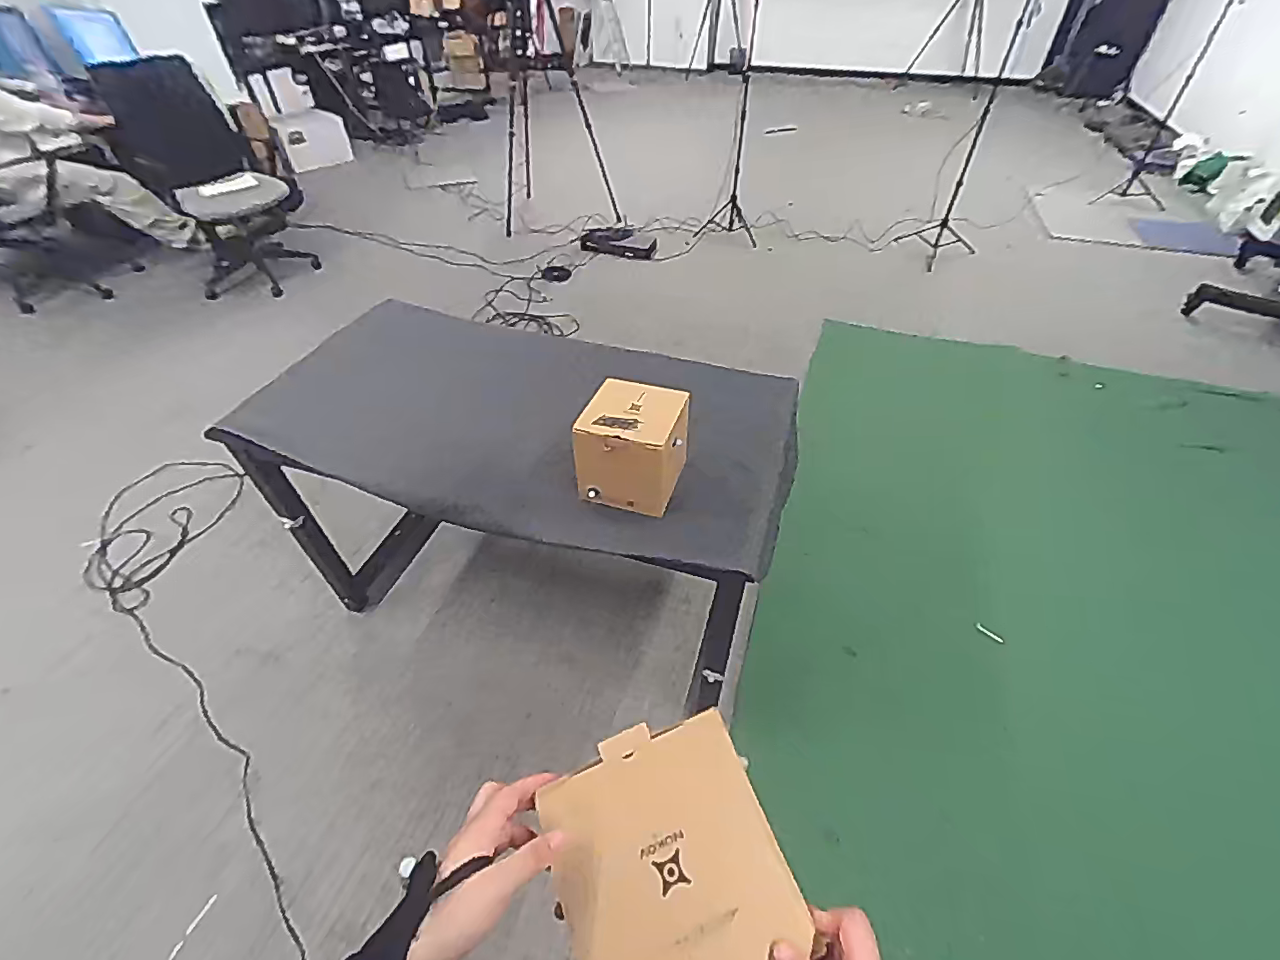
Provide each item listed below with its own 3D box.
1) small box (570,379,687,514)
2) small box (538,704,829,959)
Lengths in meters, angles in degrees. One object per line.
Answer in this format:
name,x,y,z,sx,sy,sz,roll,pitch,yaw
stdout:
small box,-0.014,-0.062,1.010,0.168,0.176,0.179,13,43,14
small box,0.029,0.327,0.469,0.168,0.176,0.179,-22,59,-9
